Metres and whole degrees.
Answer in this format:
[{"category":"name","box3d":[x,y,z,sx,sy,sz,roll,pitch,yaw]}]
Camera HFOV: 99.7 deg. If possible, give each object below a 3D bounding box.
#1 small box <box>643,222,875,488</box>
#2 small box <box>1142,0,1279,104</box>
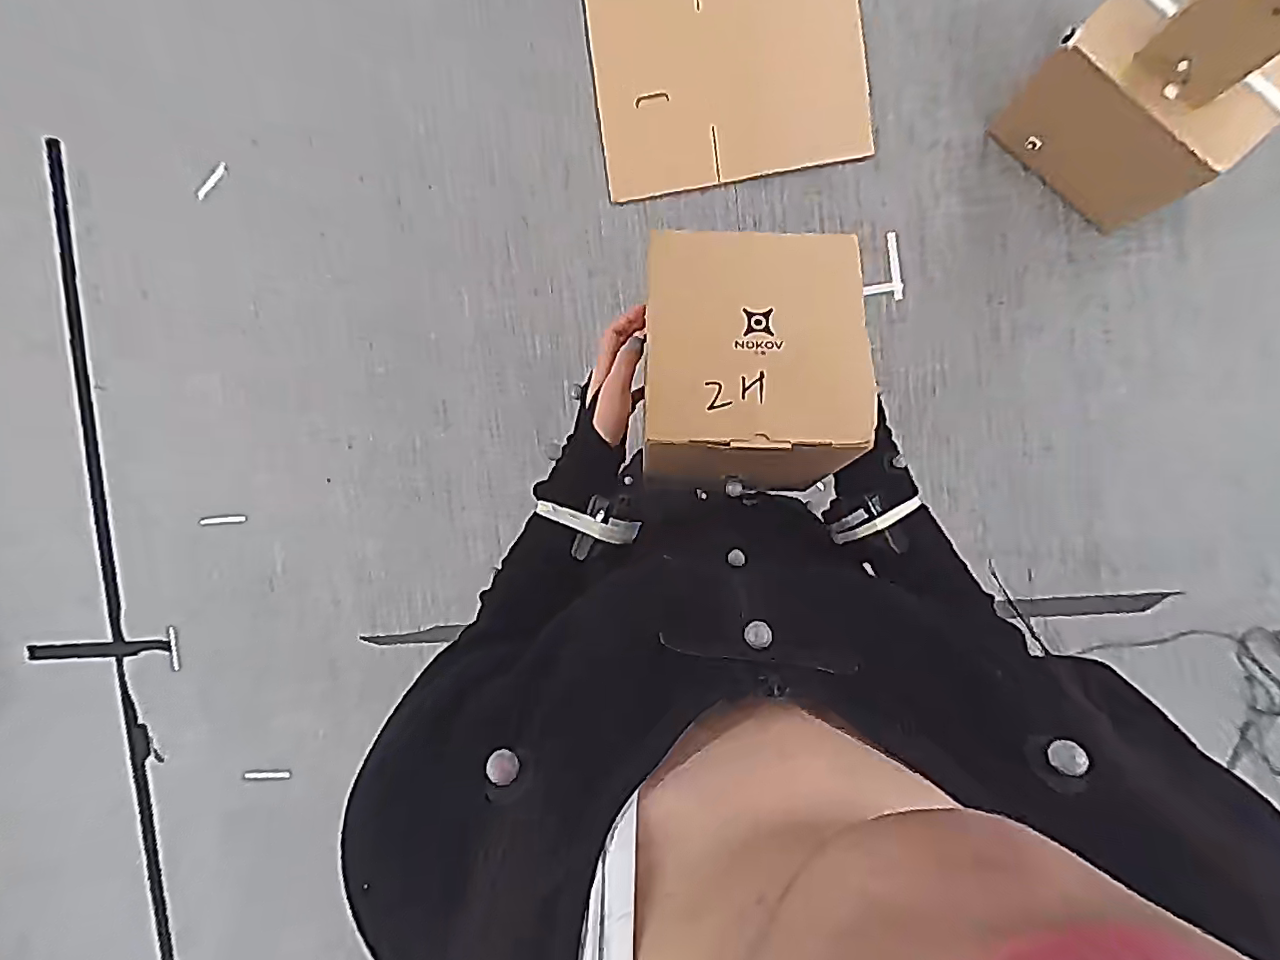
[{"category":"small box","box3d":[0.087,-0.097,0.480,0.168,0.176,0.179,1,78,0]},{"category":"small box","box3d":[1.065,-0.826,0.950,0.168,0.176,0.179,44,97,3]}]
